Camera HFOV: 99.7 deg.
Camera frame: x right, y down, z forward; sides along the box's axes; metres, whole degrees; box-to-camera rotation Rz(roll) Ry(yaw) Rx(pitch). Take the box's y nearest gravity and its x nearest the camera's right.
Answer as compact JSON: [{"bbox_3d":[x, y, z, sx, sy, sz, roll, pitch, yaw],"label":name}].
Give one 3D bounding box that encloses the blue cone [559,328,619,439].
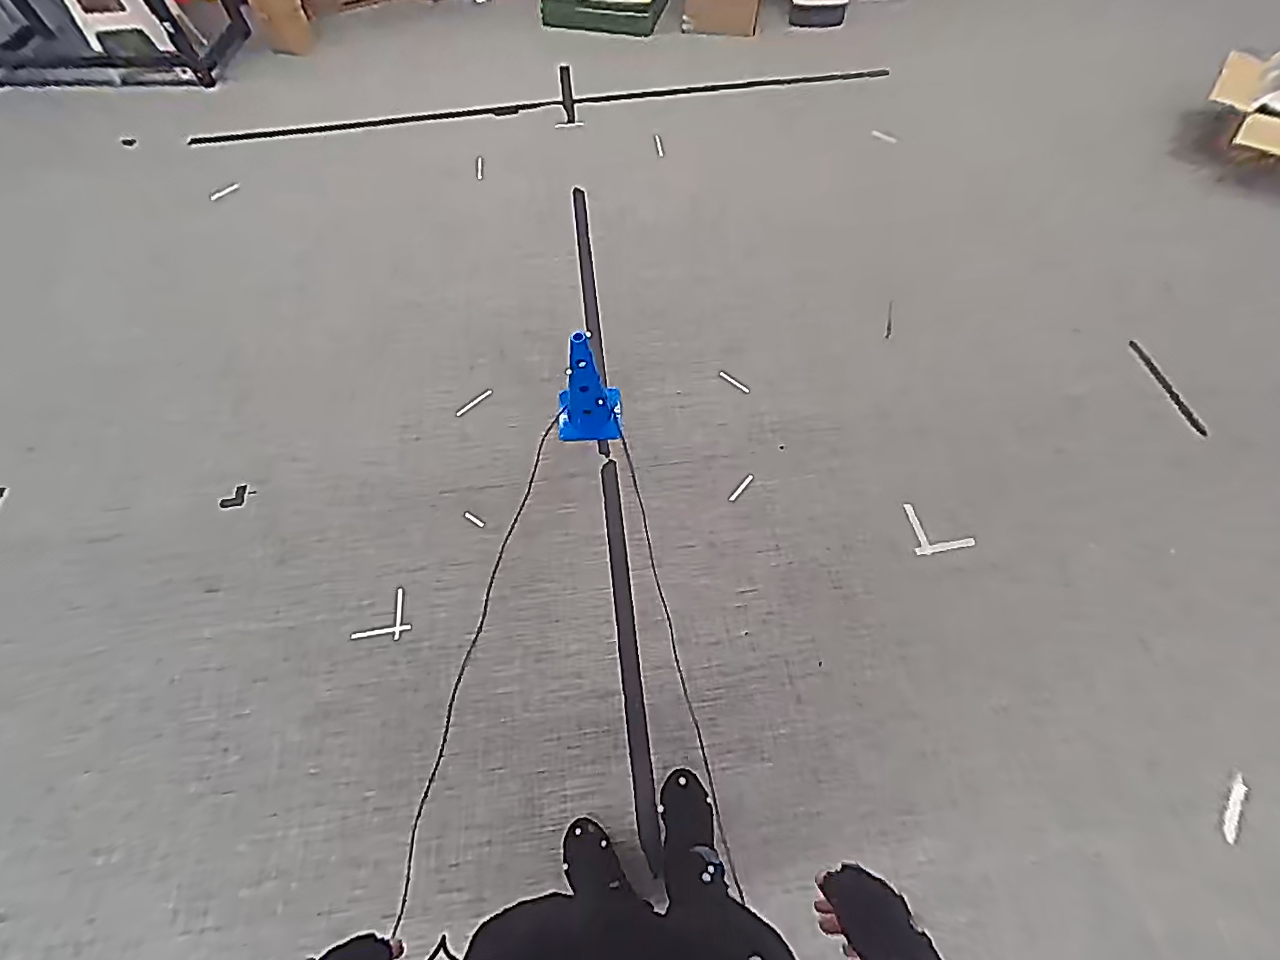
[{"bbox_3d":[-0.166,-0.291,1.575,0.193,0.380,0.192,-5,62,-1],"label":"blue cone"}]
